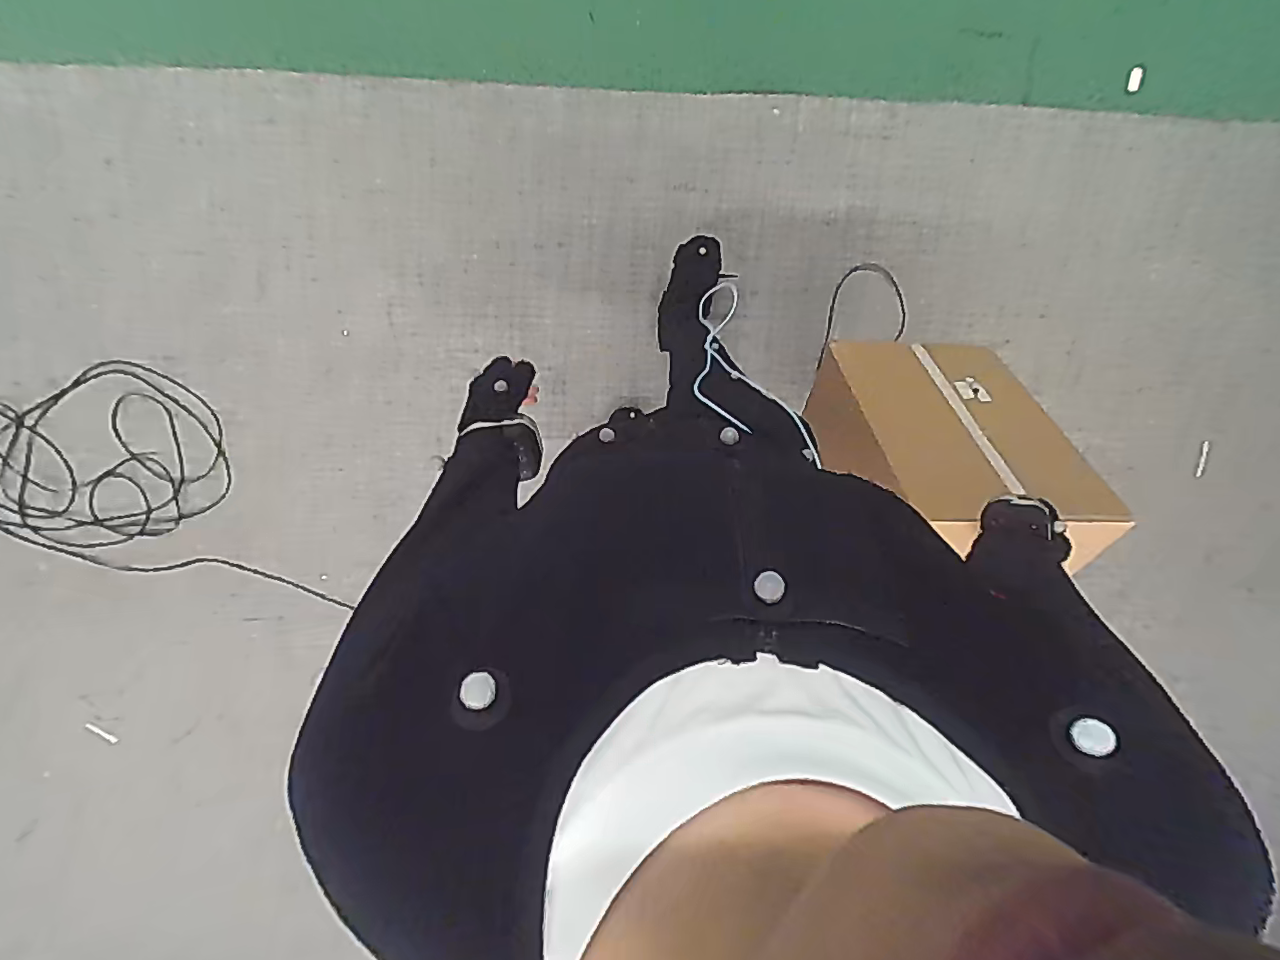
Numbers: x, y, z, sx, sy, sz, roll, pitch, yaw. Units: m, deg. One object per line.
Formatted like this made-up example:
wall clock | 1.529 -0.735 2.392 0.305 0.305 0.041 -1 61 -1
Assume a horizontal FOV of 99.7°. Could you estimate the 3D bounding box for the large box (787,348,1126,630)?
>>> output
large box | 0.491 0.012 0.961 0.320 0.408 0.320 1 136 -6
